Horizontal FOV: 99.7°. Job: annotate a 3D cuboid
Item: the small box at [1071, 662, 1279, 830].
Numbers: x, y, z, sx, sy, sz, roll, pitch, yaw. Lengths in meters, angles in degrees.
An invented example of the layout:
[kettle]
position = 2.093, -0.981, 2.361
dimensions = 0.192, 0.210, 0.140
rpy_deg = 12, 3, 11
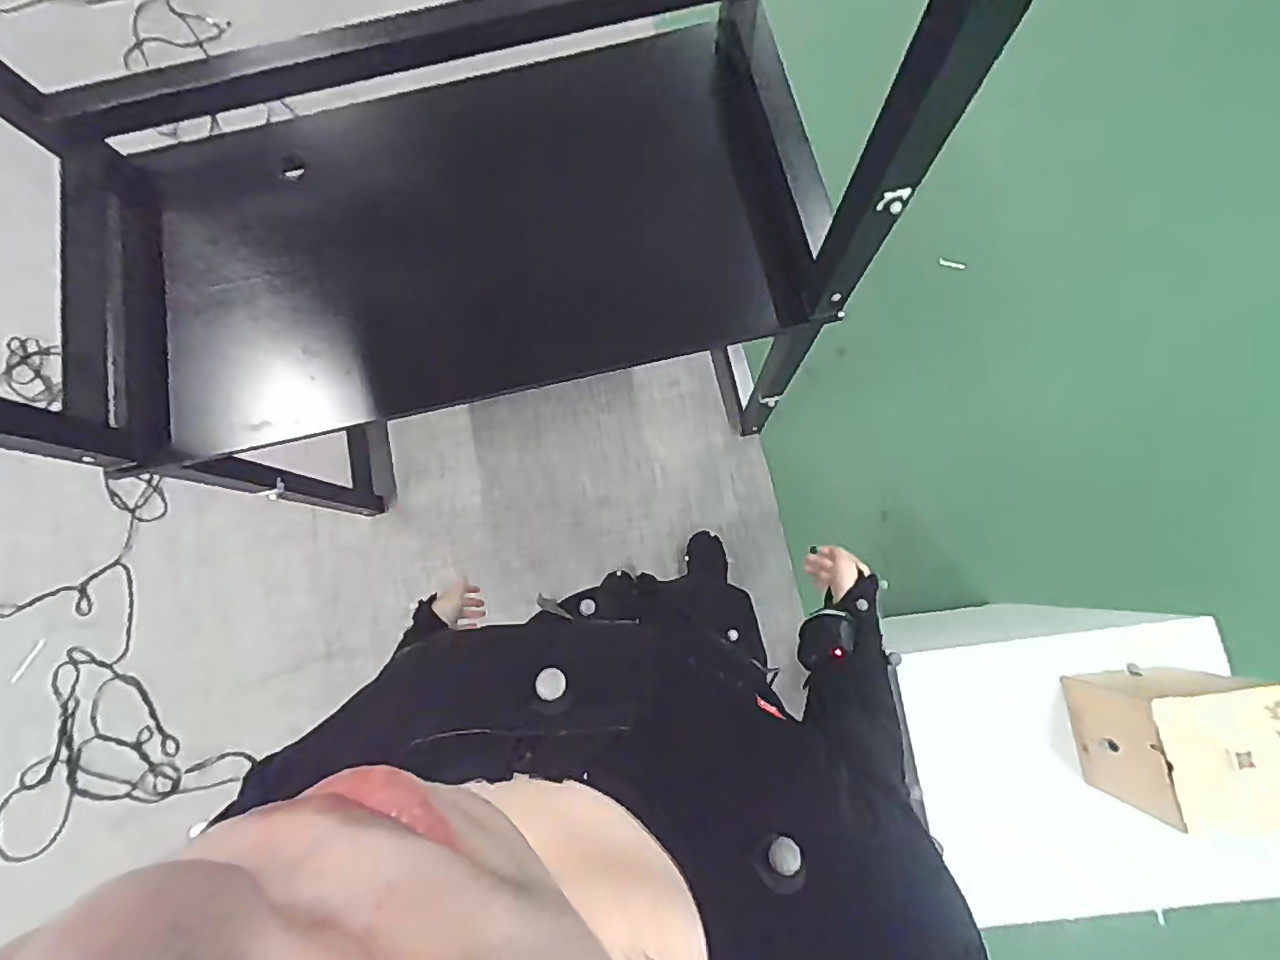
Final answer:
[small box]
position = 0.752, 0.358, 0.756
dimensions = 0.179, 0.176, 0.168
rpy_deg = -7, 80, 3
